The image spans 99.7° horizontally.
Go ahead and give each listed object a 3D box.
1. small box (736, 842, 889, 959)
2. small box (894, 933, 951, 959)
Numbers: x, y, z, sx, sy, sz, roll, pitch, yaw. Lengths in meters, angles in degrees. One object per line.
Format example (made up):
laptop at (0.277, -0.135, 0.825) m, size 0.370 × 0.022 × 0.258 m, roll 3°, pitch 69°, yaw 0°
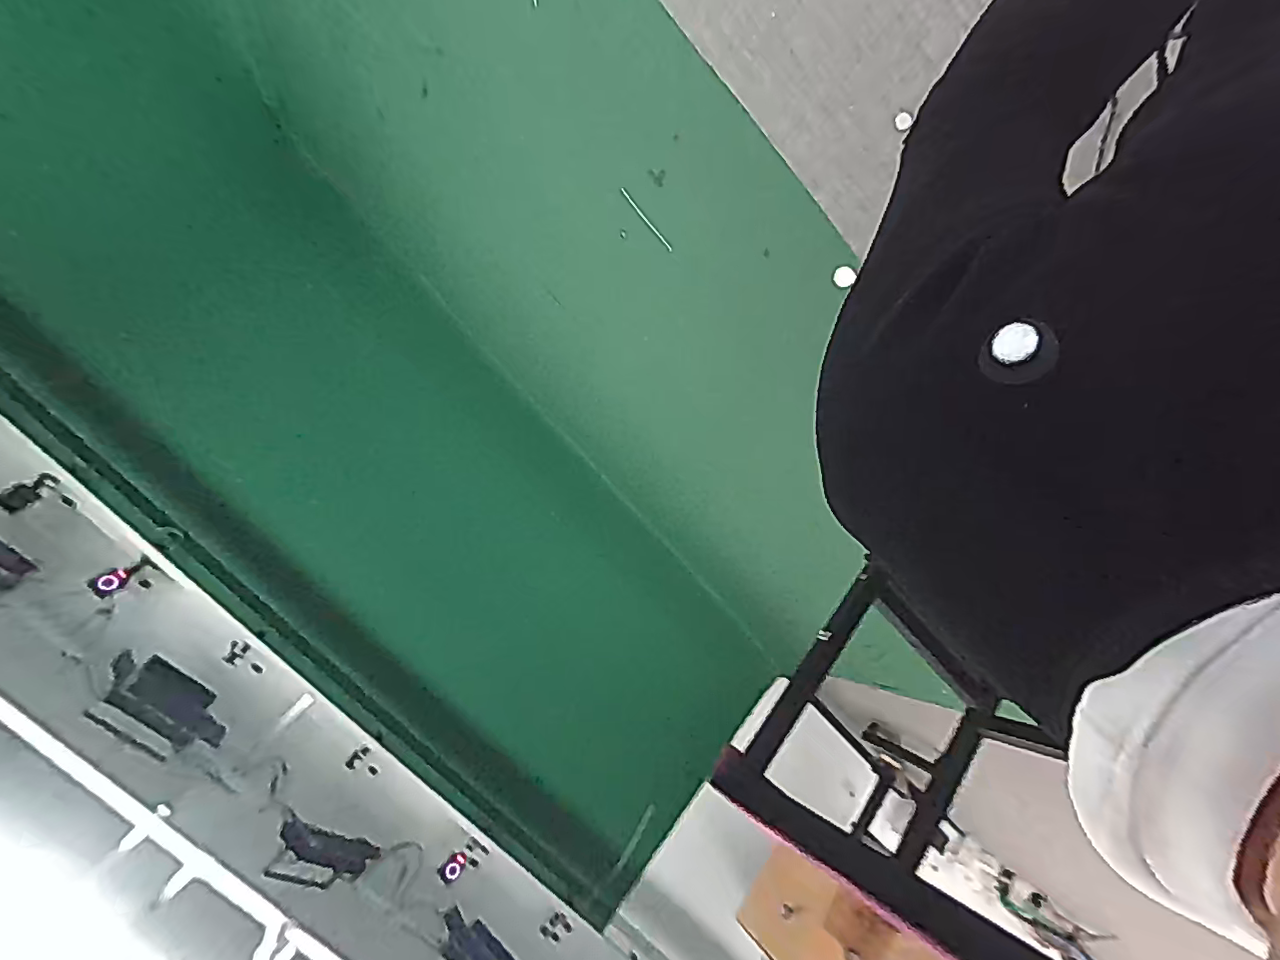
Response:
small box at (0.314, 0.800, 0.970) m, size 0.168 × 0.176 × 0.179 m, roll 48°, pitch 156°, yaw -8°
small box at (0.428, 0.761, 0.708) m, size 0.168 × 0.176 × 0.179 m, roll 45°, pitch 158°, yaw -7°
